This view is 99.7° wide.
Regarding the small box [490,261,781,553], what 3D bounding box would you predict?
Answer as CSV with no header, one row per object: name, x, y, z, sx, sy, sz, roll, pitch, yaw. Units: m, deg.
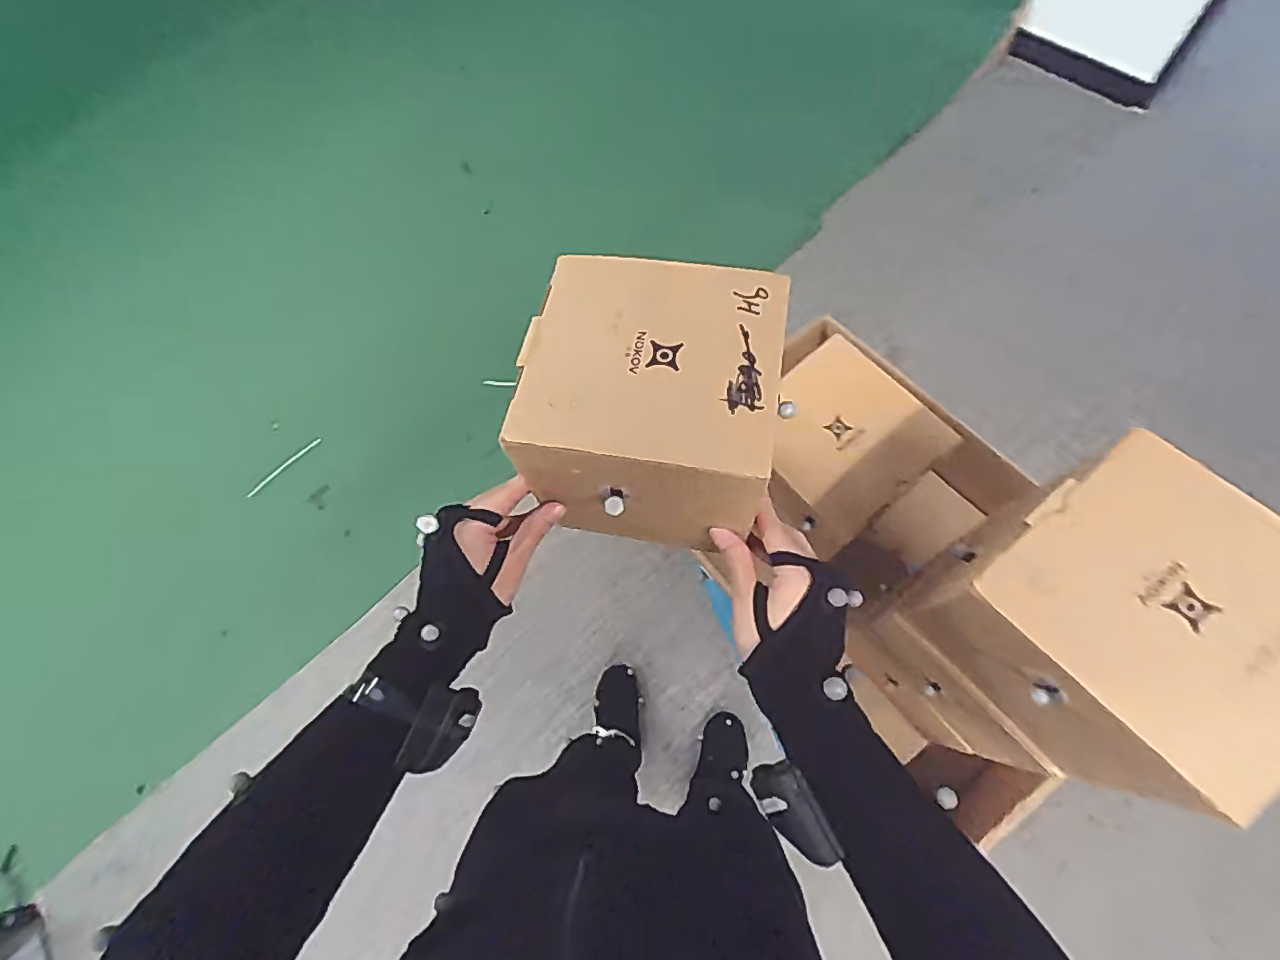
small box,0.009,-0.050,0.437,0.179,0.176,0.168,7,66,9

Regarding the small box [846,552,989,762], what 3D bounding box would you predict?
small box,0.390,0.224,0.688,0.168,0.176,0.179,-38,66,-5

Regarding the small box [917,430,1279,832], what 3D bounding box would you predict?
small box,0.339,0.103,0.389,0.168,0.176,0.179,-39,67,-5

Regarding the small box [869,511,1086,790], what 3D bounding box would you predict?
small box,0.363,0.165,0.538,0.168,0.176,0.179,-39,66,-6
